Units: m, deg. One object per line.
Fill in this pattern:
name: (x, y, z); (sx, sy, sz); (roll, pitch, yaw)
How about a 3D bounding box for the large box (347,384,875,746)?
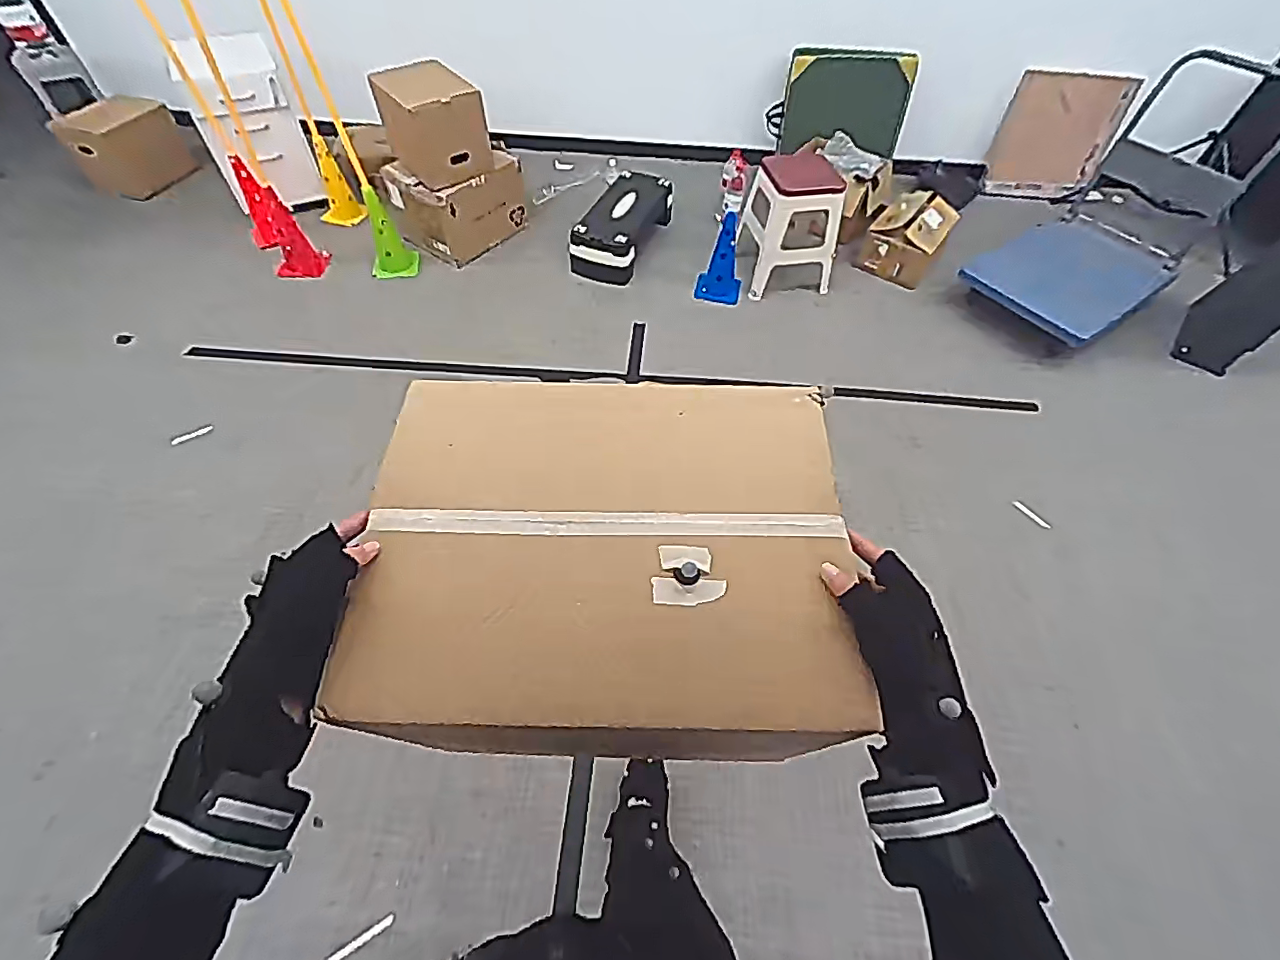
large box: (-0.023, 0.112, 0.604); (0.408, 0.320, 0.320); (1, 60, 0)
